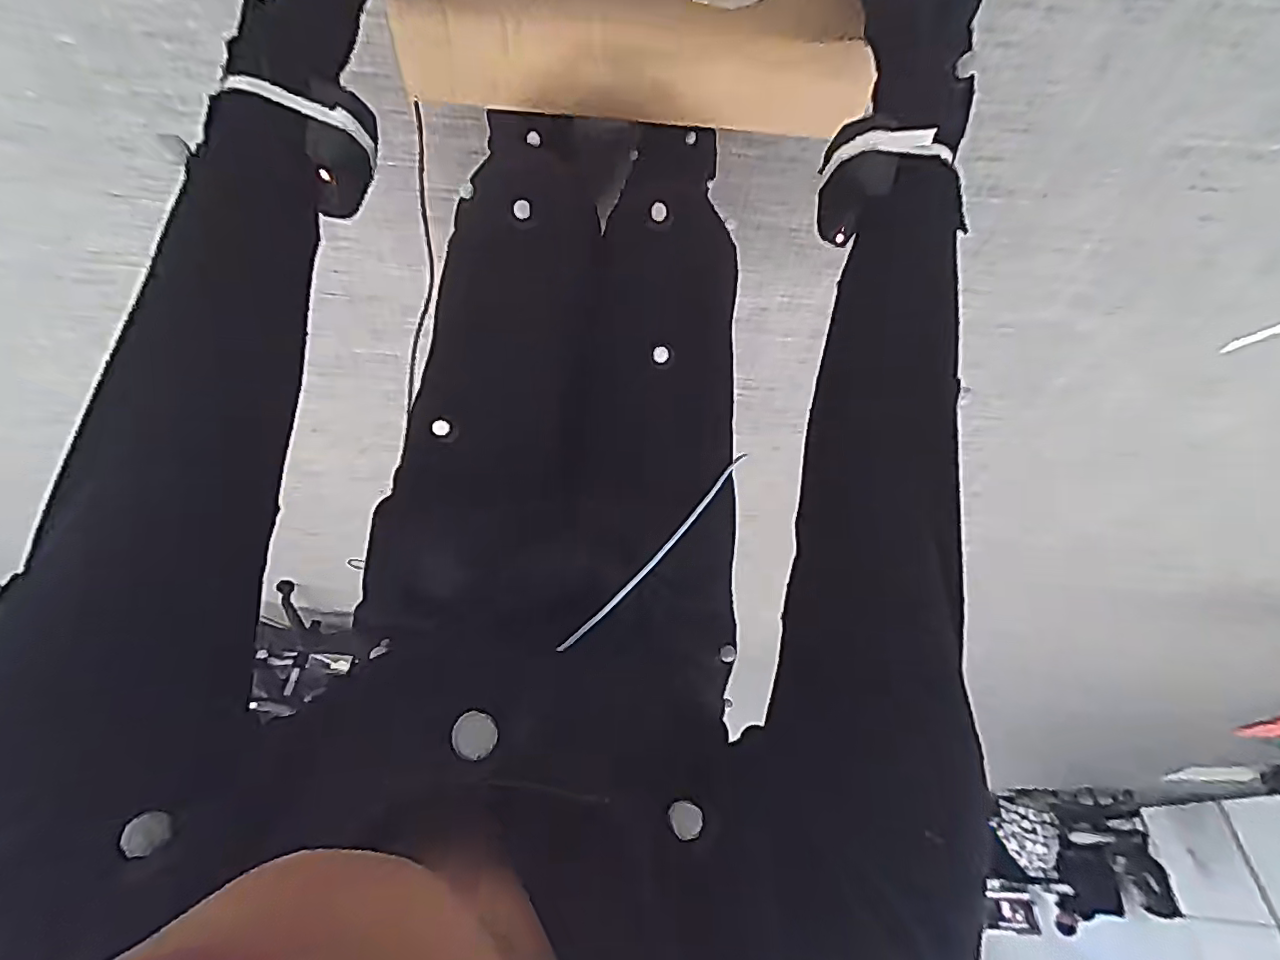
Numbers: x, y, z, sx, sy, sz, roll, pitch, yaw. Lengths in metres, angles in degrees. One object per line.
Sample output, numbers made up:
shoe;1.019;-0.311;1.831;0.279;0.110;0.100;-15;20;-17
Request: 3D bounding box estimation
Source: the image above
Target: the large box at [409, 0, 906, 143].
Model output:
large box;0.018;-0.538;0.466;0.408;0.320;0.320;4;145;-3
